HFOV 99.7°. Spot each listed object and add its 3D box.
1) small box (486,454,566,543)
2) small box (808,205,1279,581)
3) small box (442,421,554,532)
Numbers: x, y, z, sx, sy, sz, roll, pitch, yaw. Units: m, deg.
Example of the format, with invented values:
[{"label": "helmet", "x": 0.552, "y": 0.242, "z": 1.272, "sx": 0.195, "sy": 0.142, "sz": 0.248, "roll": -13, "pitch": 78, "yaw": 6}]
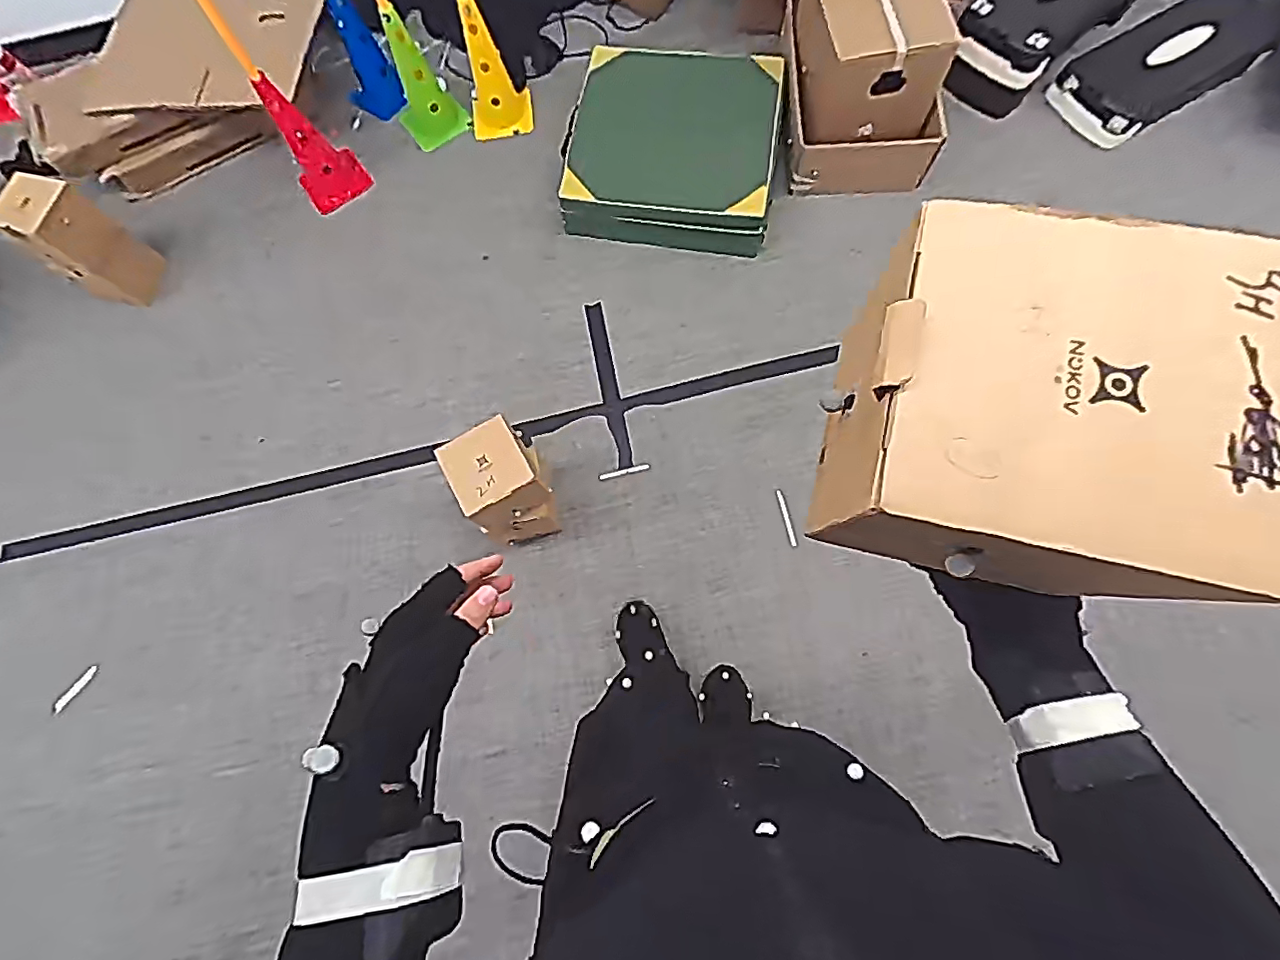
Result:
[{"label": "small box", "x": -0.296, "y": 0.056, "z": 1.379, "sx": 0.168, "sy": 0.176, "sz": 0.179, "roll": -14, "pitch": 72, "yaw": 0}, {"label": "small box", "x": 0.211, "y": -0.034, "z": 0.329, "sx": 0.179, "sy": 0.176, "sz": 0.168, "roll": 9, "pitch": 80, "yaw": 8}, {"label": "small box", "x": -0.315, "y": 0.000, "z": 1.225, "sx": 0.168, "sy": 0.176, "sz": 0.179, "roll": -27, "pitch": 76, "yaw": -2}]
